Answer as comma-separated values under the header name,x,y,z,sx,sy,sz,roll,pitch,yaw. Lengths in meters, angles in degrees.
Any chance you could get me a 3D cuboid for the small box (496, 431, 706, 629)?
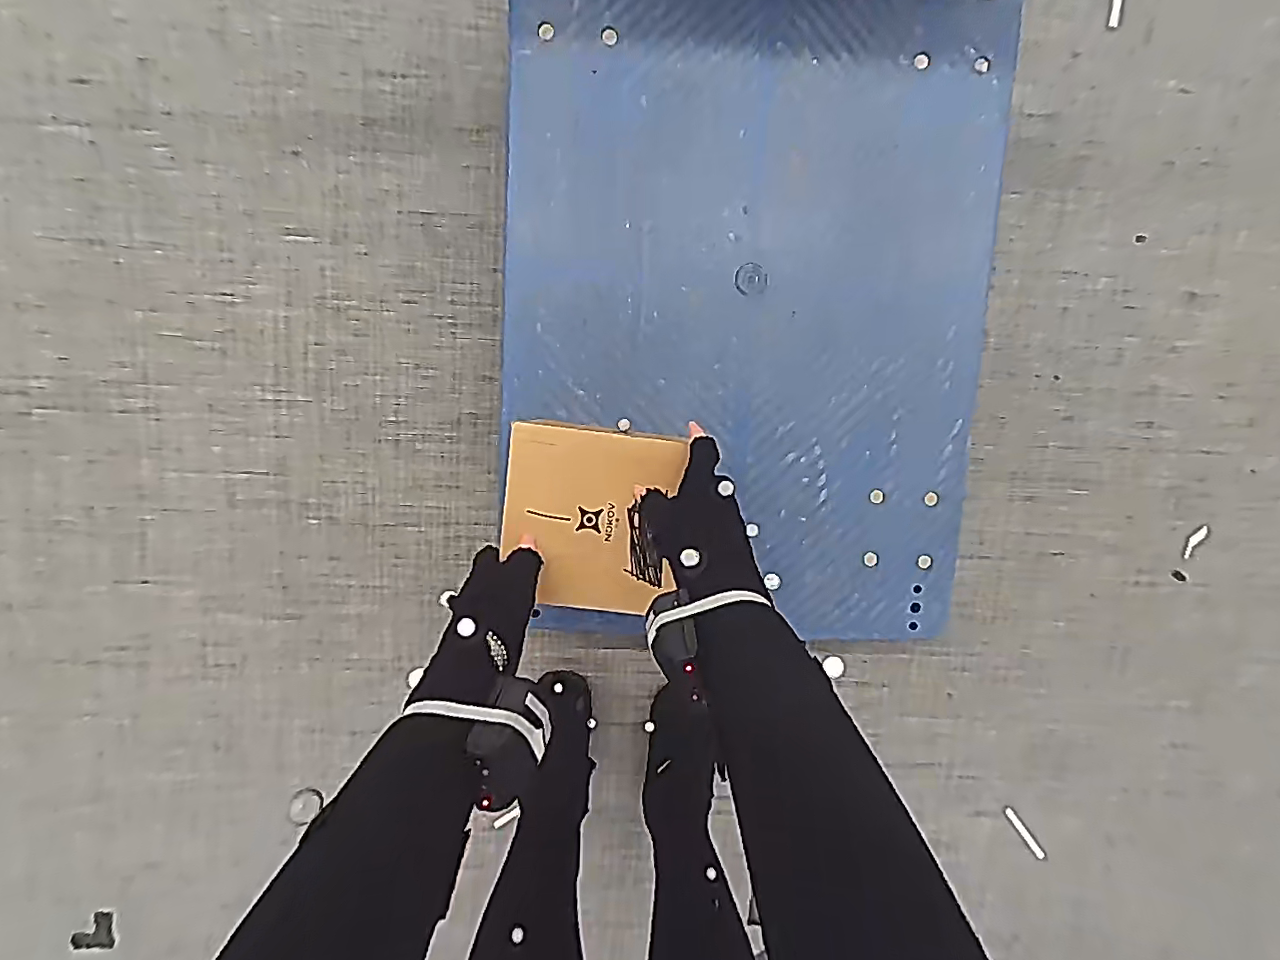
name,x,y,z,sx,sy,sz,roll,pitch,yaw
small box,-0.039,0.040,0.571,0.179,0.176,0.168,7,96,-2
